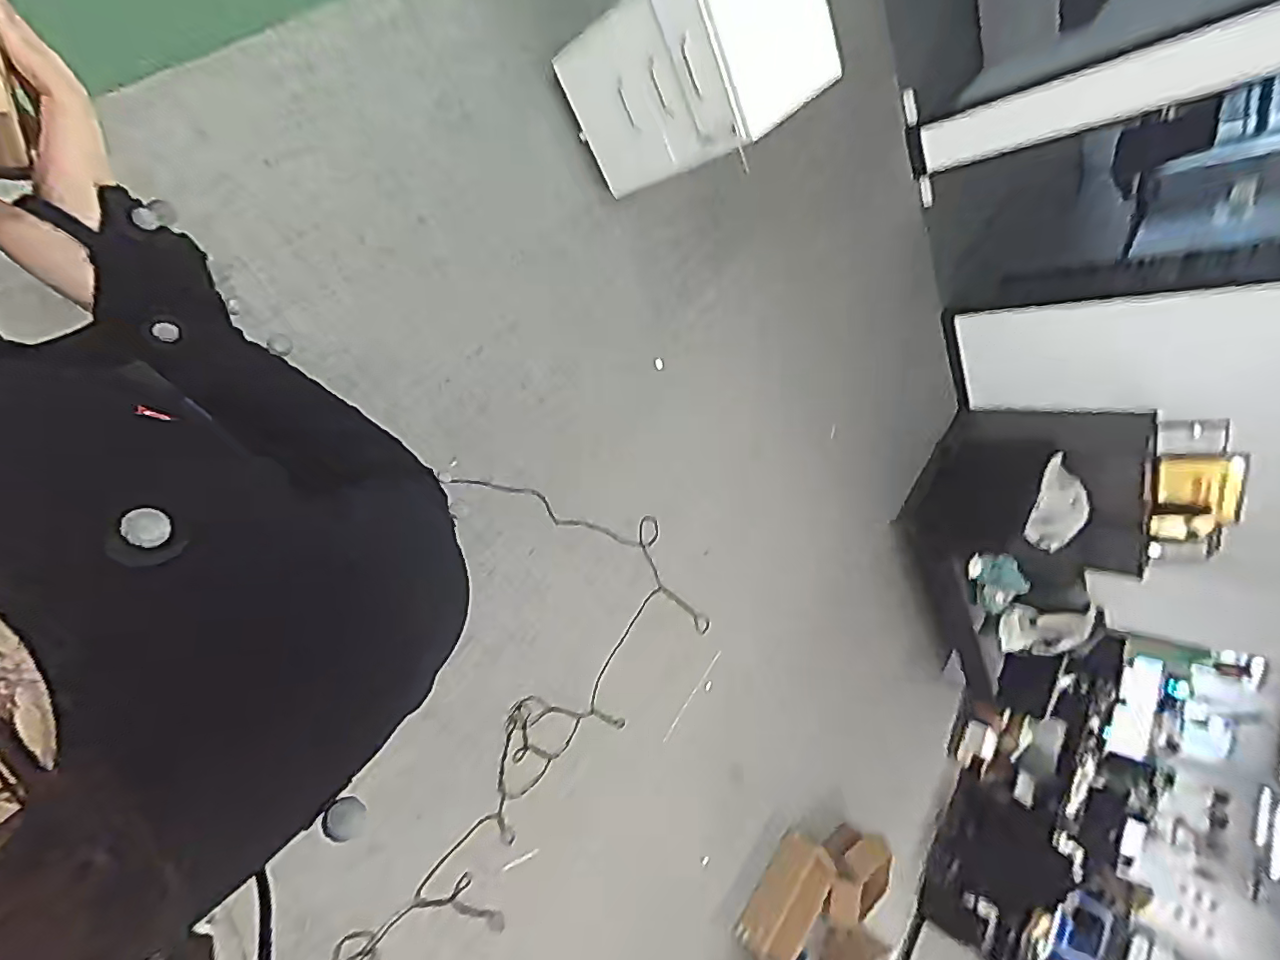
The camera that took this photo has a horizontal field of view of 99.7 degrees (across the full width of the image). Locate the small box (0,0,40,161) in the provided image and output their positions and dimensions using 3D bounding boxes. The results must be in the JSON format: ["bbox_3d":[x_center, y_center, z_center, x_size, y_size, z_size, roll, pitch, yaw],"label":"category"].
[{"bbox_3d":[-0.364,-0.233,0.193,0.179,0.176,0.168,-14,112,-43],"label":"small box"}]
